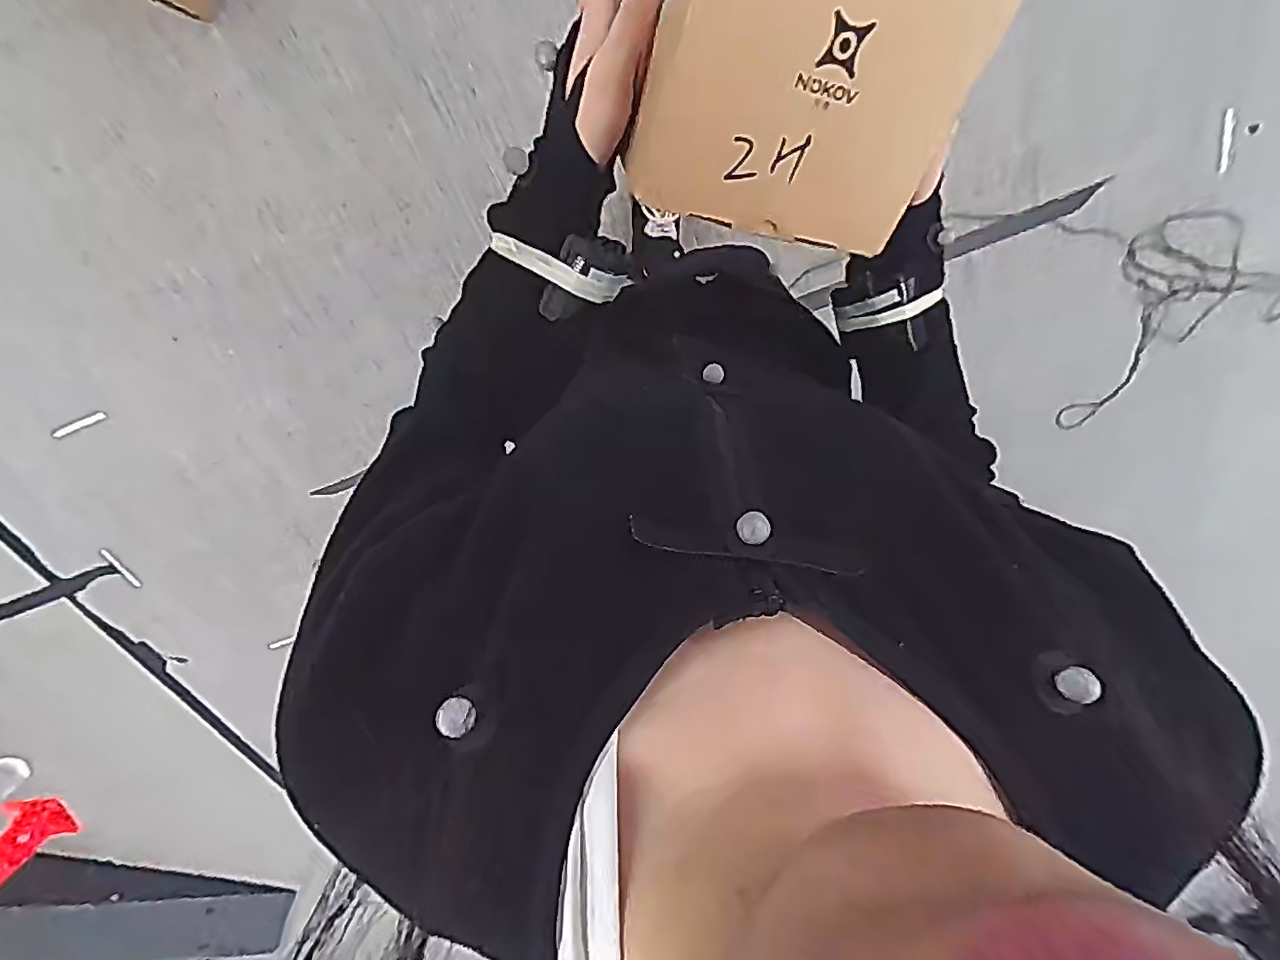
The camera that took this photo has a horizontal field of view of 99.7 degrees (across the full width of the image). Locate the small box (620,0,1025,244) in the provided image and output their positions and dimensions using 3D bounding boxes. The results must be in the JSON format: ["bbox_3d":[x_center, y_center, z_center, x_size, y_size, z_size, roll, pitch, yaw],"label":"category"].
[{"bbox_3d":[0.091,-0.276,0.324,0.168,0.176,0.179,4,135,-17],"label":"small box"}]
